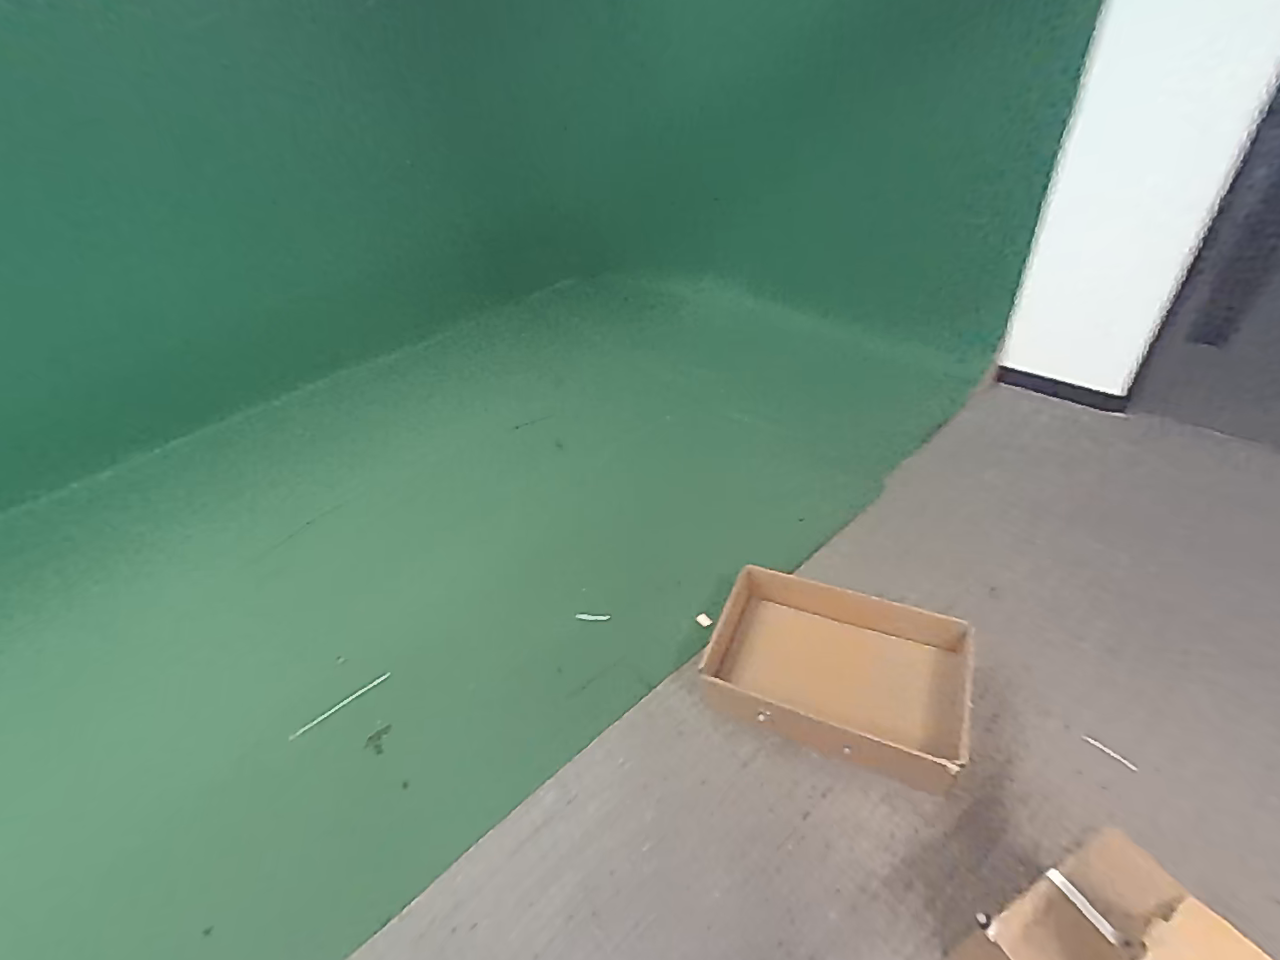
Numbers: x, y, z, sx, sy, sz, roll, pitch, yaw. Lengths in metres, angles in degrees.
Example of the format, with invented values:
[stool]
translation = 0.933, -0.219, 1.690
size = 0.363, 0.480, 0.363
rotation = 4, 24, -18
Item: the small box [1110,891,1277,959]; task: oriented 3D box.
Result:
[small box]
translation = 0.744, 0.700, 0.707
size = 0.168, 0.176, 0.179
rotation = -29, 42, -18
